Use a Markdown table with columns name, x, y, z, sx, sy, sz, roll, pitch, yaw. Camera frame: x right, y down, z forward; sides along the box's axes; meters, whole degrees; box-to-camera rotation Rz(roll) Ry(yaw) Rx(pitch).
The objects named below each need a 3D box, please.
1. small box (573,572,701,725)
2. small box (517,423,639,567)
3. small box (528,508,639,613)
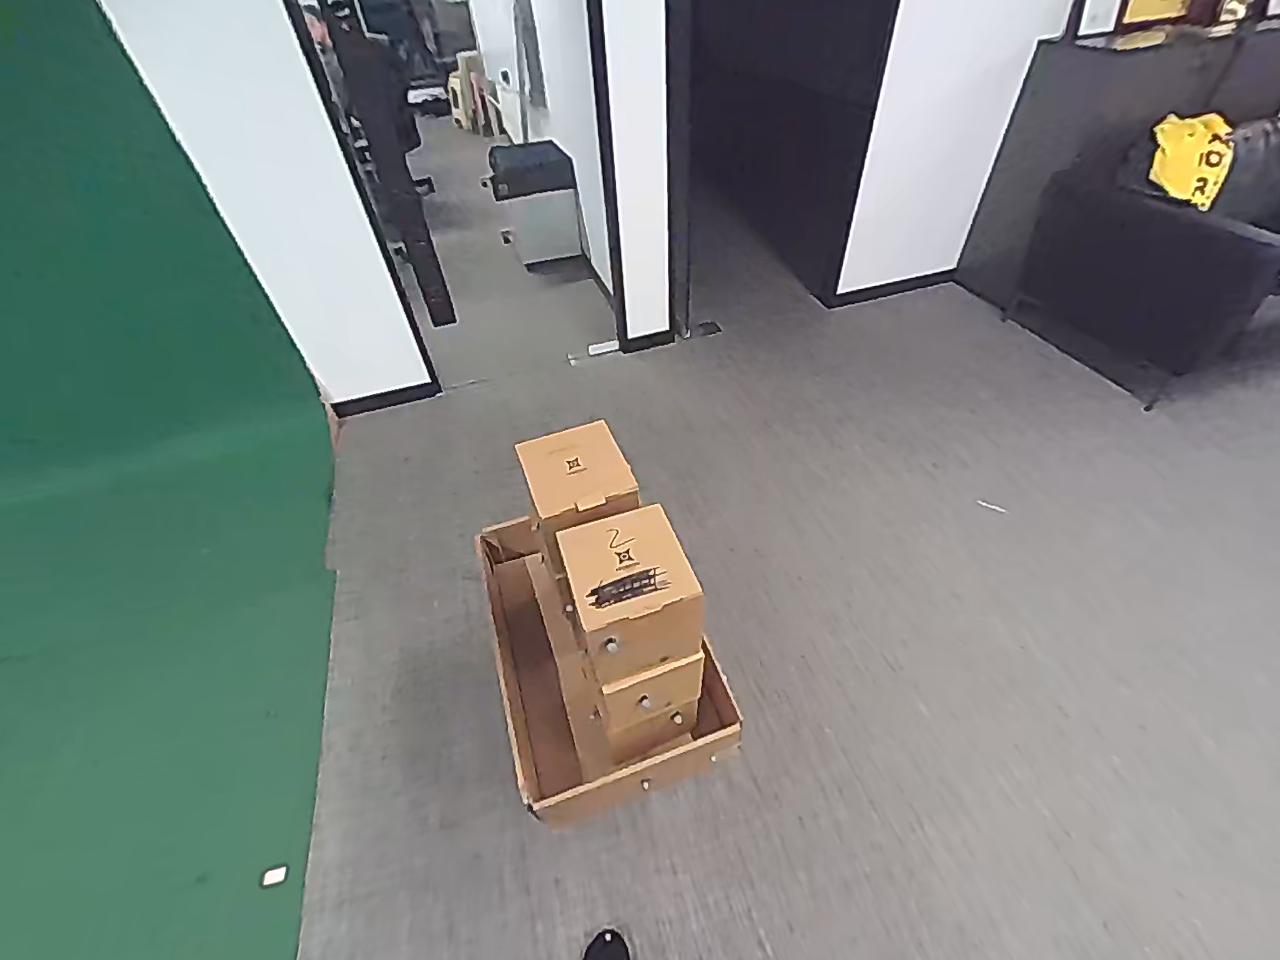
| name | x | y | z | sx | sy | sz | roll | pitch | yaw |
| --- | --- | --- | --- | --- | --- | --- | --- | --- | --- |
| small box | -0.005 | 0.294 | 0.924 | 0.168 | 0.176 | 0.179 | -17 | 47 | -13 |
| small box | -0.105 | 0.033 | 0.954 | 0.168 | 0.176 | 0.179 | -17 | 50 | -14 |
| small box | -0.108 | 0.143 | 1.075 | 0.168 | 0.176 | 0.179 | -20 | 50 | -15 |
